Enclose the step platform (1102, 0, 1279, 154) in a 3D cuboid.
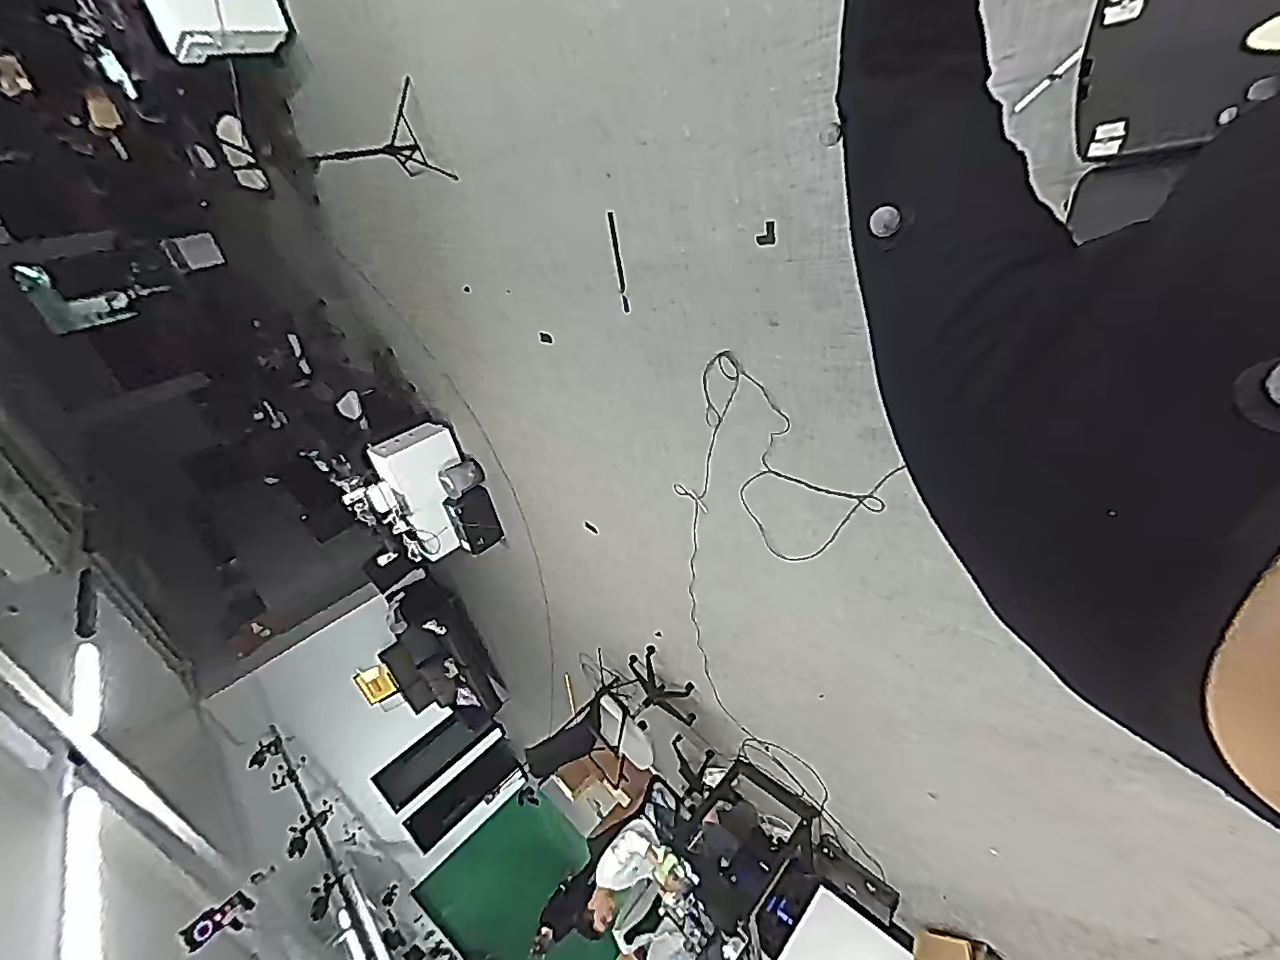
[{"bbox_3d":[1.111,-0.697,0.774,0.684,0.204,0.286,15,129,44],"label":"step platform"}]
